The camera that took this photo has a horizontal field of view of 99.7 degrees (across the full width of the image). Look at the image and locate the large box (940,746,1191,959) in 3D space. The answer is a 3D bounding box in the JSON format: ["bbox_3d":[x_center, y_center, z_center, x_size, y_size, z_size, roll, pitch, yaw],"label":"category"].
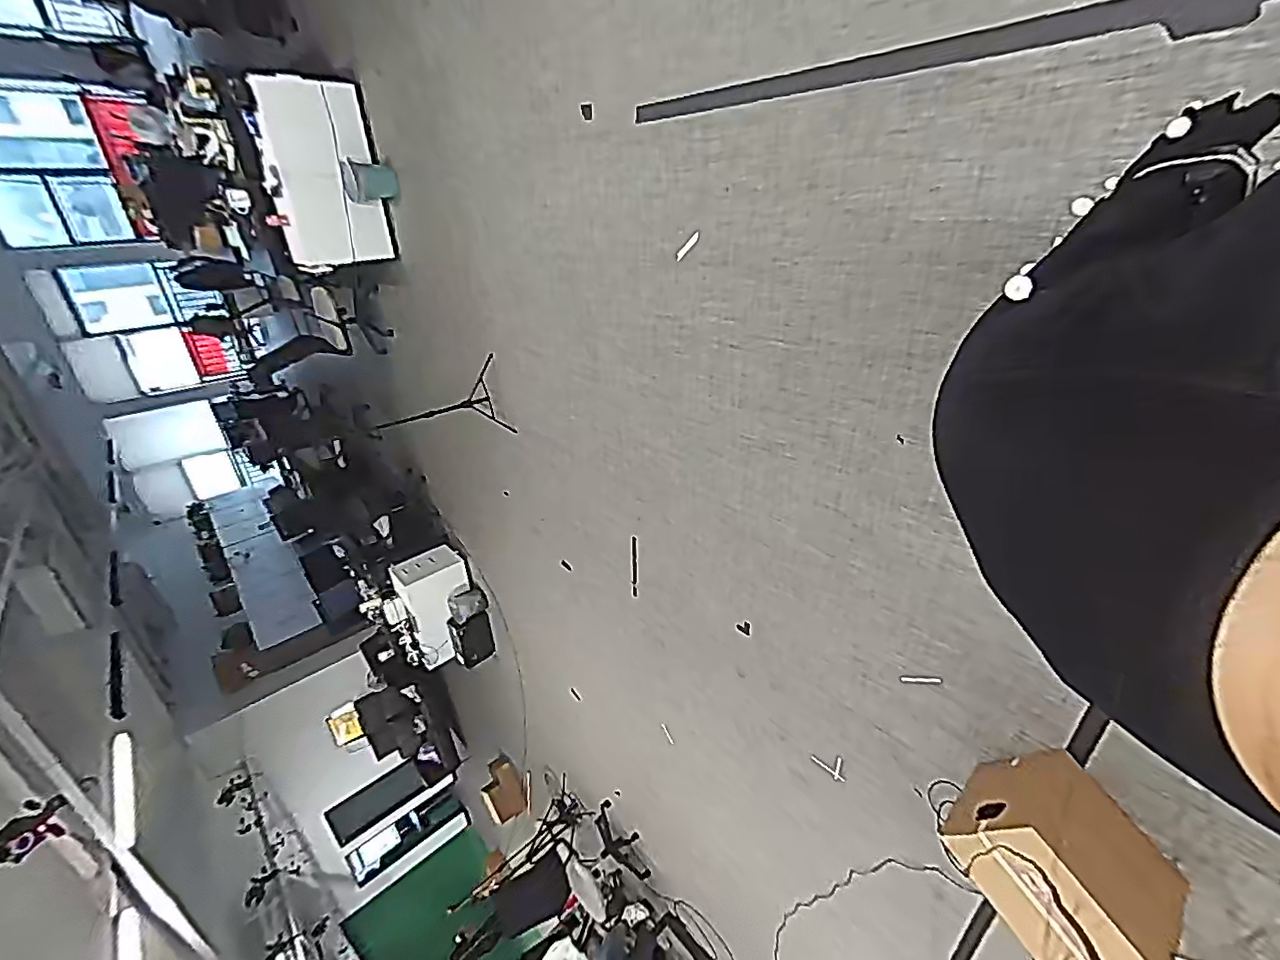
[{"bbox_3d":[1.145,1.021,1.475,0.408,0.320,0.320,53,142,18],"label":"large box"}]
